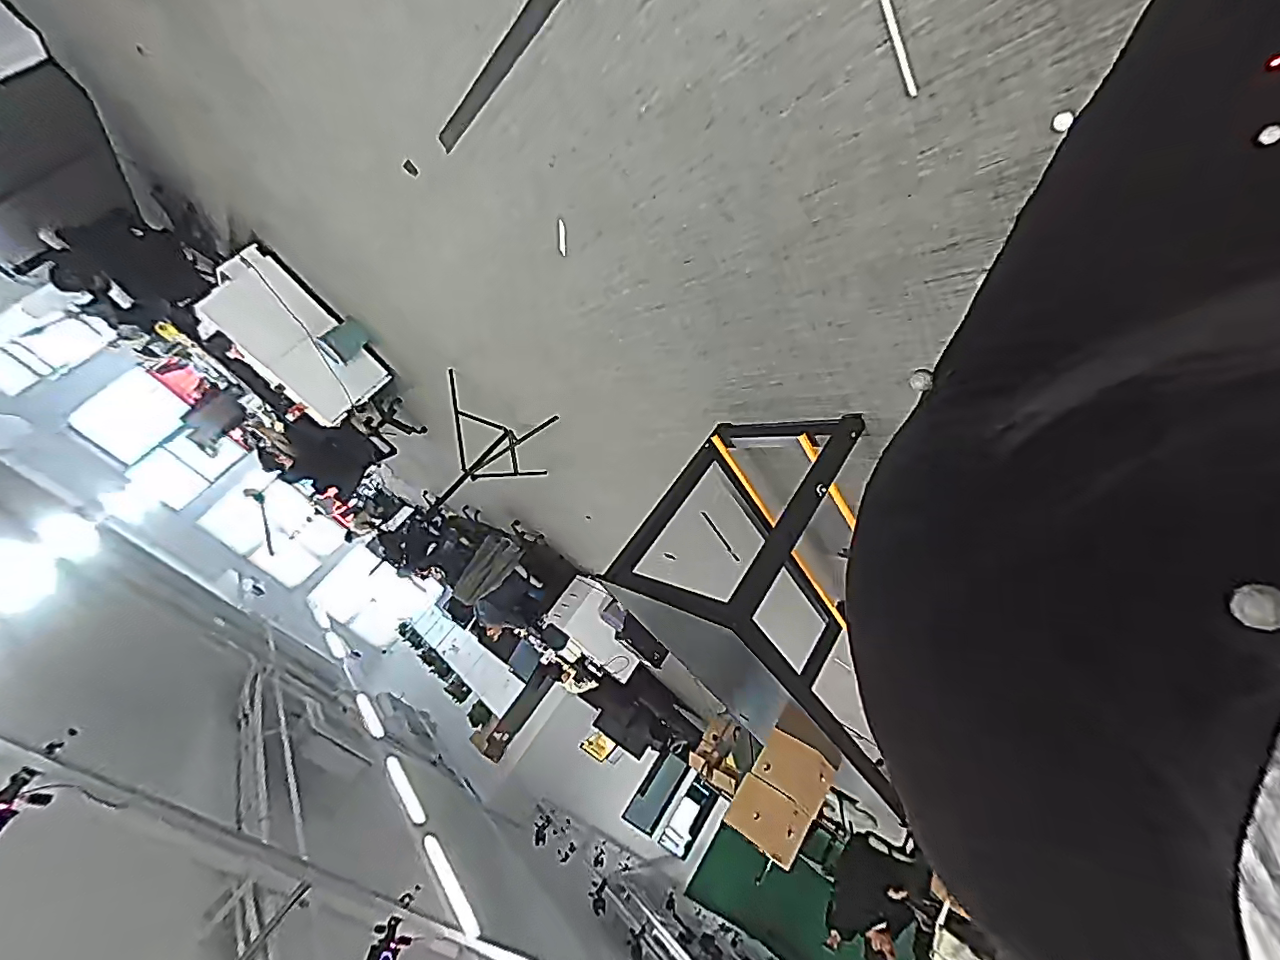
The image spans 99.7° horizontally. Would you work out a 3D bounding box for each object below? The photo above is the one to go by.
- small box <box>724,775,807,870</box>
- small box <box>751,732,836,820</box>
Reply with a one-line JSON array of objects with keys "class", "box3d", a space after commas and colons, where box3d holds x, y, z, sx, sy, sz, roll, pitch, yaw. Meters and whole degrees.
[{"class": "small box", "box3d": [0.405, 1.076, 1.712, 0.179, 0.176, 0.168, 3, 139, 54]}, {"class": "small box", "box3d": [0.503, 0.955, 1.765, 0.179, 0.176, 0.168, 7, 143, 52]}]
